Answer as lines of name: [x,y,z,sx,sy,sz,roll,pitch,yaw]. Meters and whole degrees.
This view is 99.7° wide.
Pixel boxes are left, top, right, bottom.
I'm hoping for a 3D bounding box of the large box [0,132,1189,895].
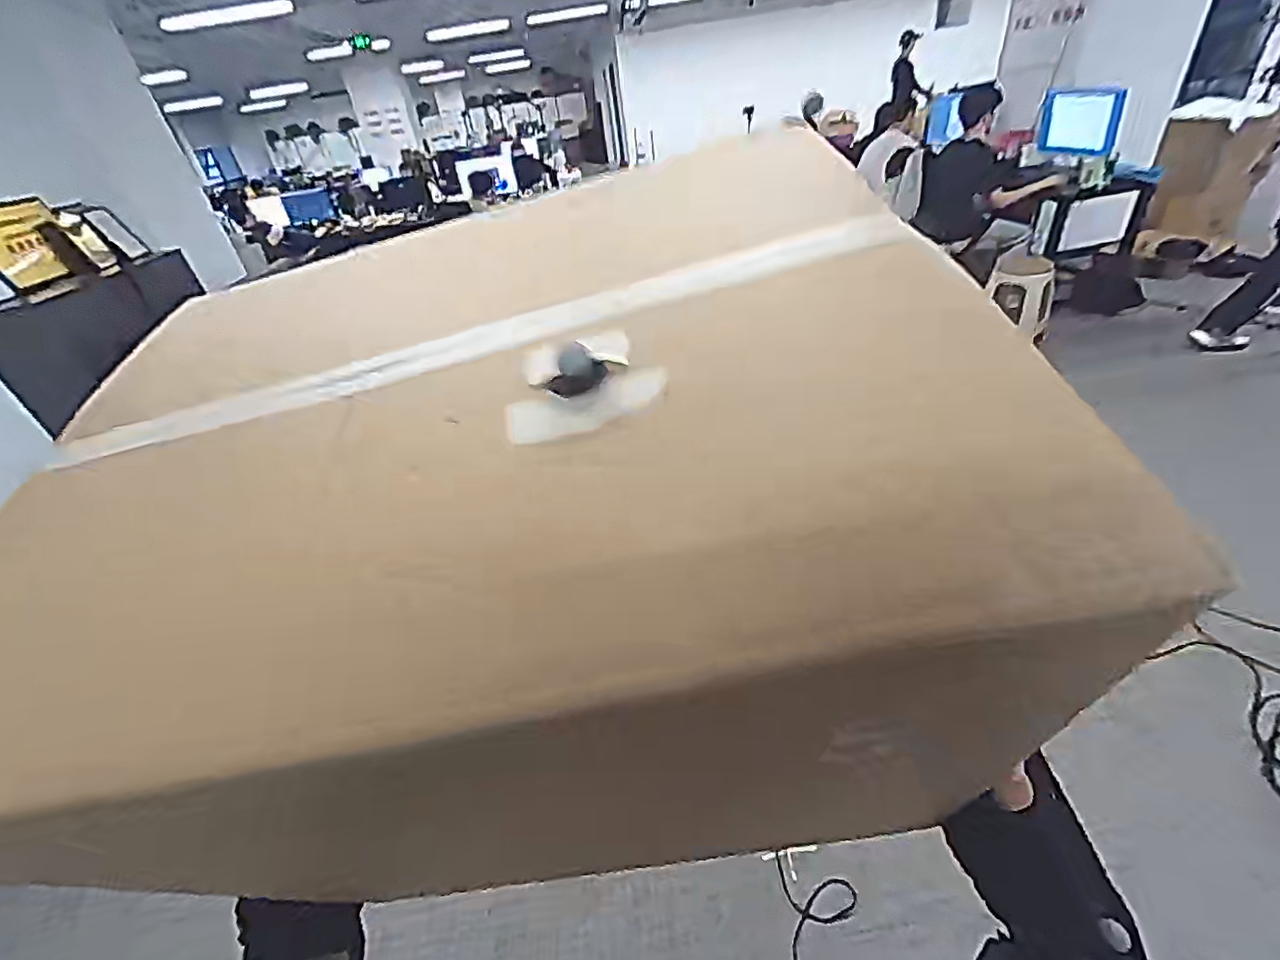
large box: [-0.043,0.043,0.354,0.408,0.320,0.320,-13,49,6]
